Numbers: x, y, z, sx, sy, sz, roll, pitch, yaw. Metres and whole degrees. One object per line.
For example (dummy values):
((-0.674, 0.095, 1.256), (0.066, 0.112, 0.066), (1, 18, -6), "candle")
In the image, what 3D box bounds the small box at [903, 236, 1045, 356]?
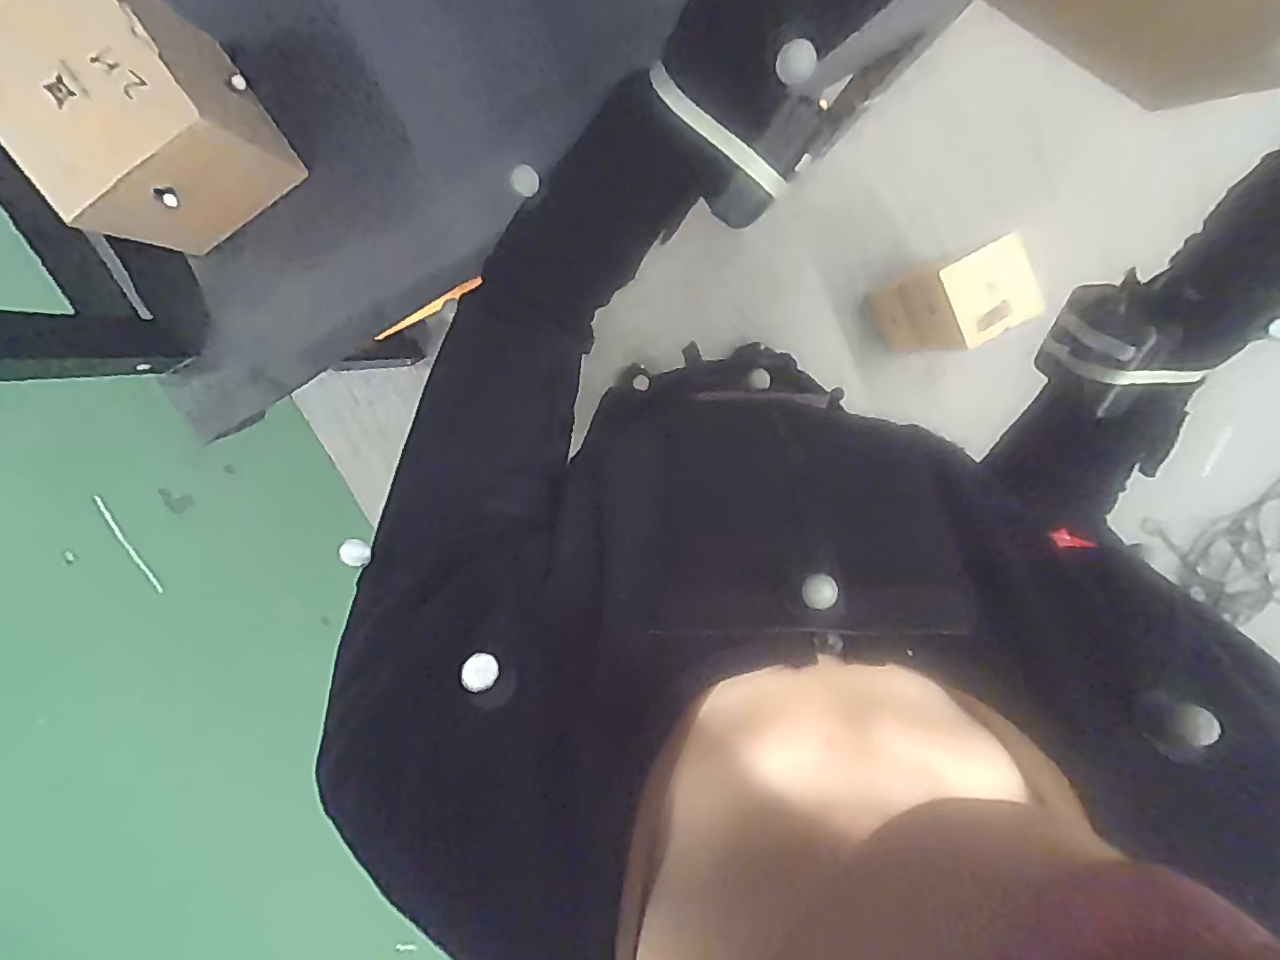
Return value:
((0.695, -0.379, 1.142), (0.168, 0.176, 0.179), (-27, 100, 6), "small box")

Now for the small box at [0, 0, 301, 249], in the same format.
((-0.512, -0.371, 0.567), (0.179, 0.176, 0.168), (-31, 102, 6), "small box")
